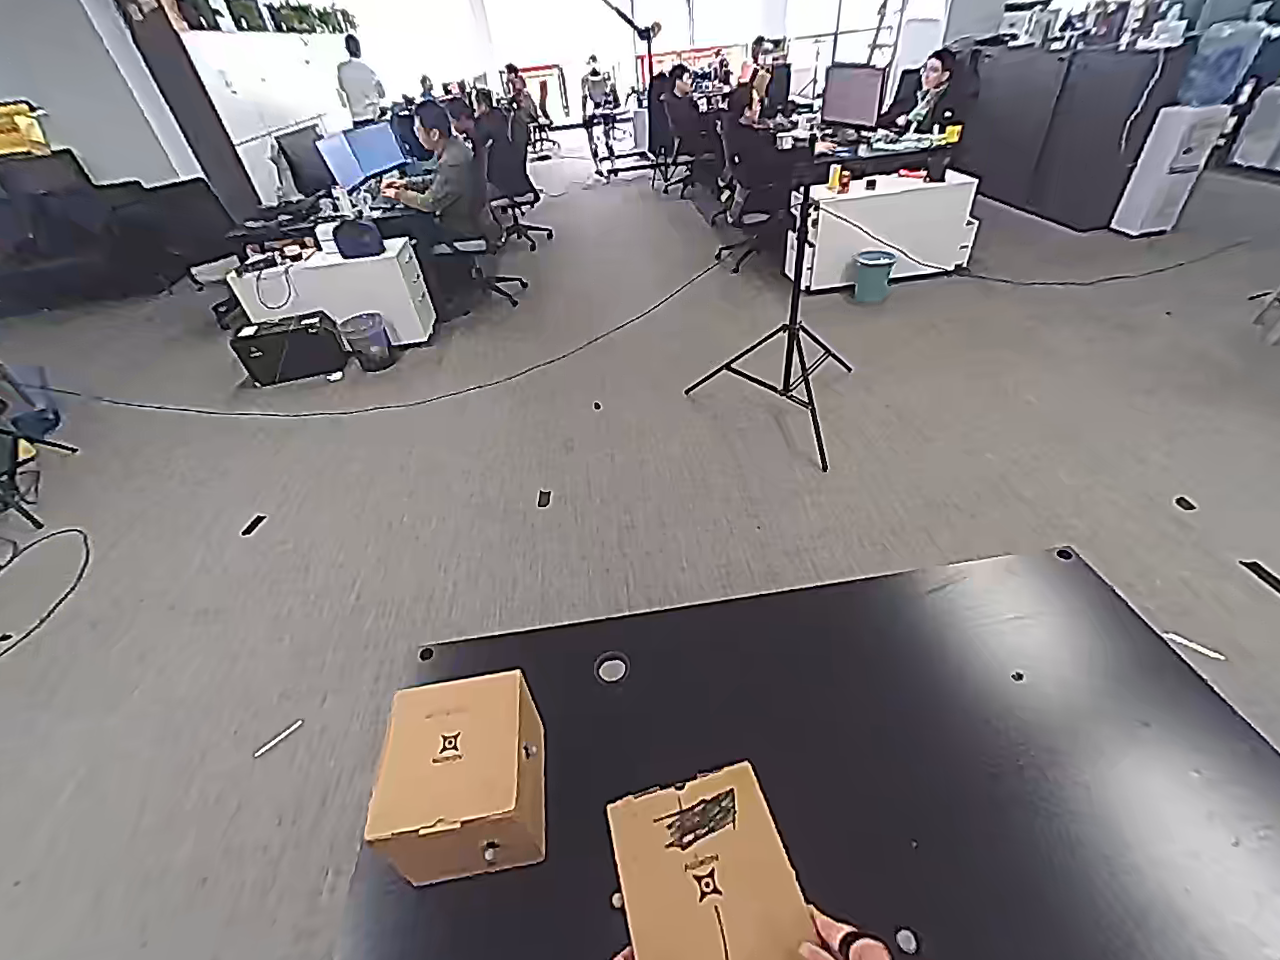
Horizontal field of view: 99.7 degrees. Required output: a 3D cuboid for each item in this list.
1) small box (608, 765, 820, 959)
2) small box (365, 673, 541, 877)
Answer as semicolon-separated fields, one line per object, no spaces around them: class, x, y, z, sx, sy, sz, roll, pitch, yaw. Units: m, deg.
small box;0.067;0.448;0.581;0.168;0.176;0.179;-13;41;-8
small box;-0.223;0.384;0.700;0.168;0.176;0.179;-8;39;-5
